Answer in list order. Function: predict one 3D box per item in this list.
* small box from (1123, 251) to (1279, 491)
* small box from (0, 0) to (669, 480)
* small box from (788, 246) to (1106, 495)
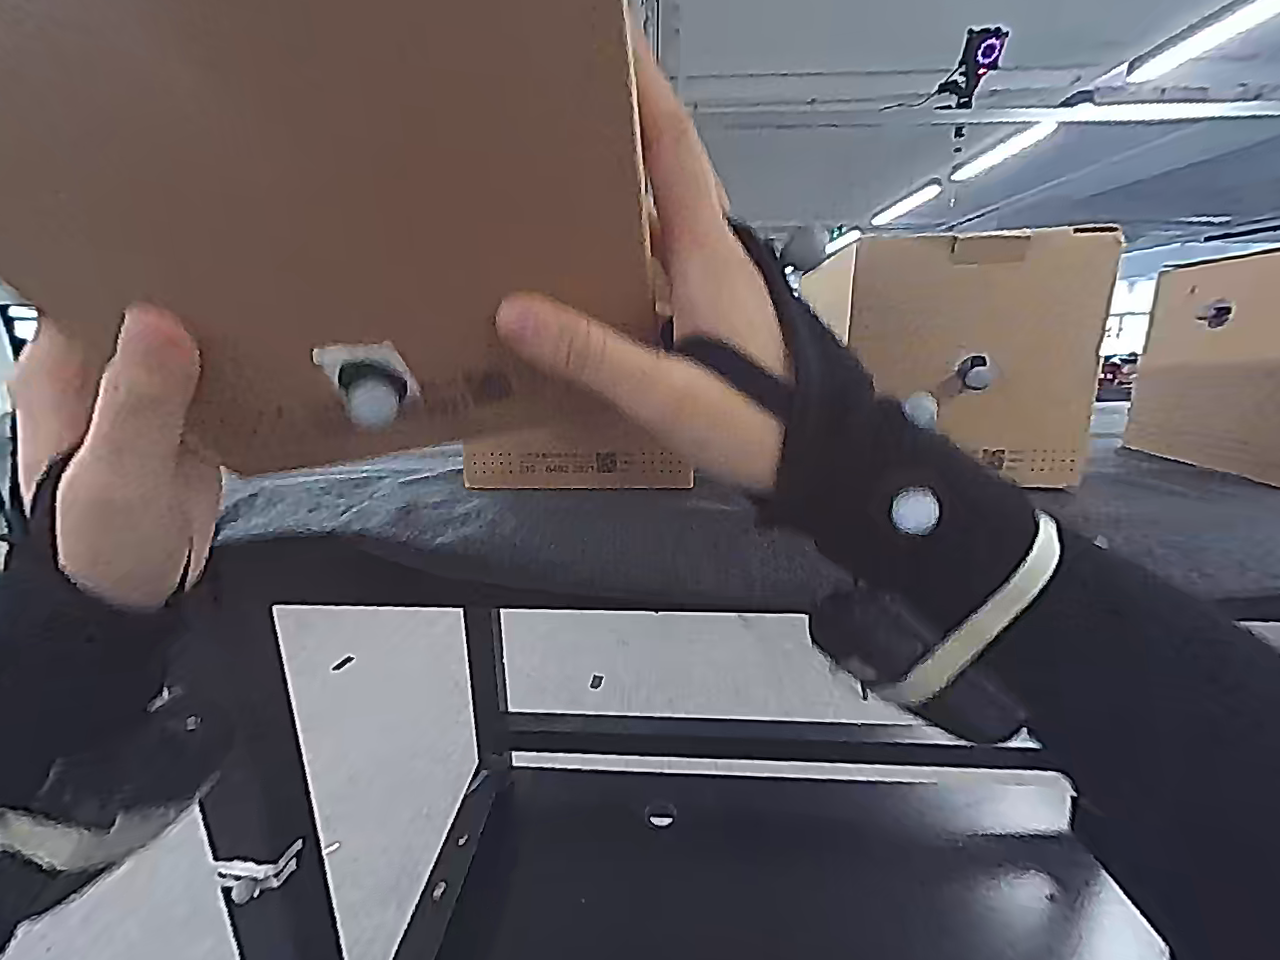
[{"bbox_3d":[0.537,-0.084,0.425,0.168,0.176,0.179,1,14,9],"label":"small box"},{"bbox_3d":[-0.089,-0.127,0.200,0.168,0.176,0.179,-13,54,-2],"label":"small box"},{"bbox_3d":[0.224,-0.087,0.448,0.168,0.176,0.179,1,13,4],"label":"small box"}]
